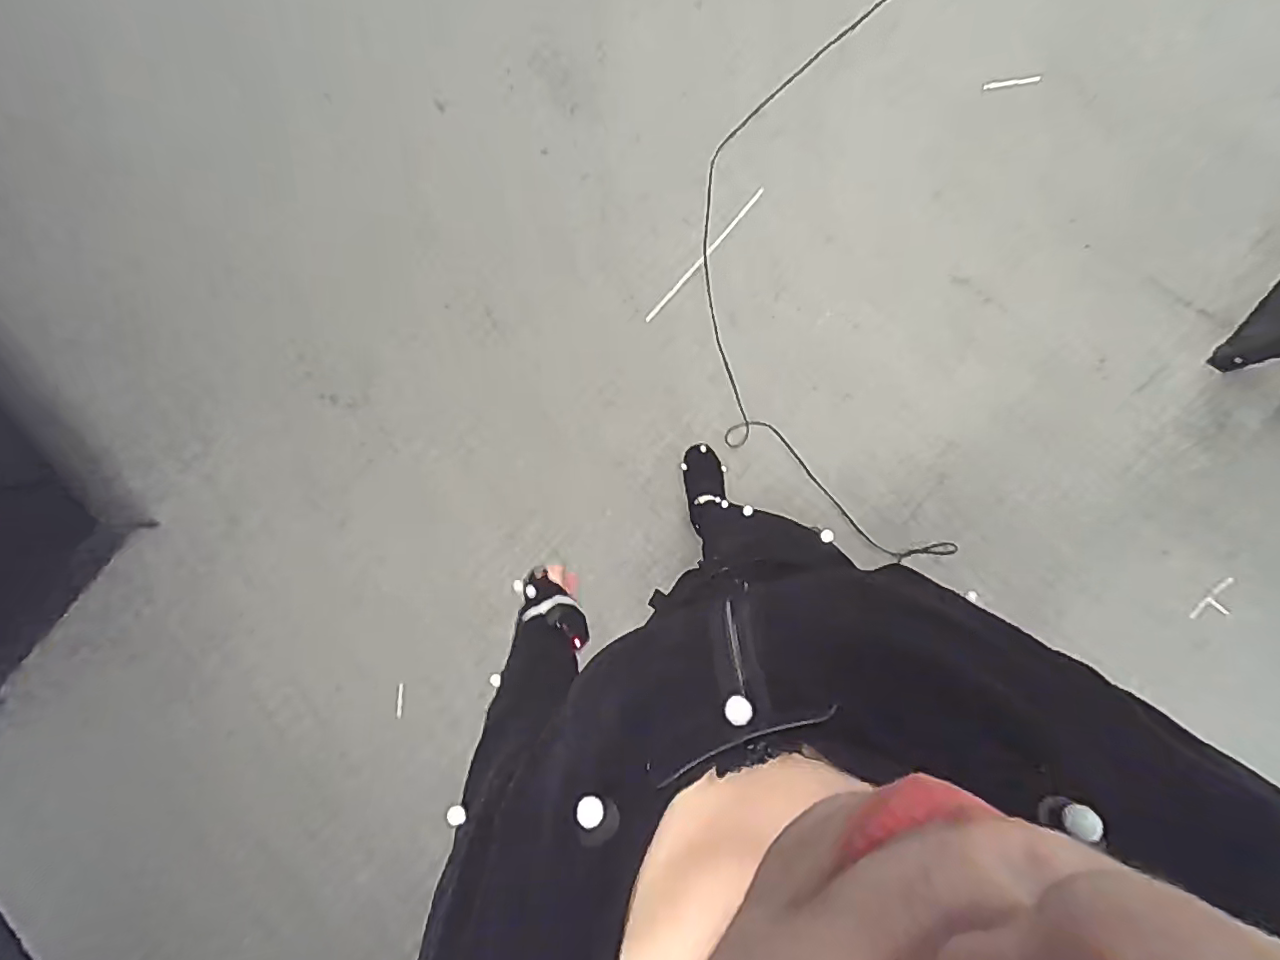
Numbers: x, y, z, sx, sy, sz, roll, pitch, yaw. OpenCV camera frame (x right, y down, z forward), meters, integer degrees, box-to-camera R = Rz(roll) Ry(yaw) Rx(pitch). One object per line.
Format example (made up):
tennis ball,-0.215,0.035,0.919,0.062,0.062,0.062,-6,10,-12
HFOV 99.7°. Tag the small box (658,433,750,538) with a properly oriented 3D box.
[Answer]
small box,0.161,0.015,1.403,0.168,0.176,0.179,32,56,30
